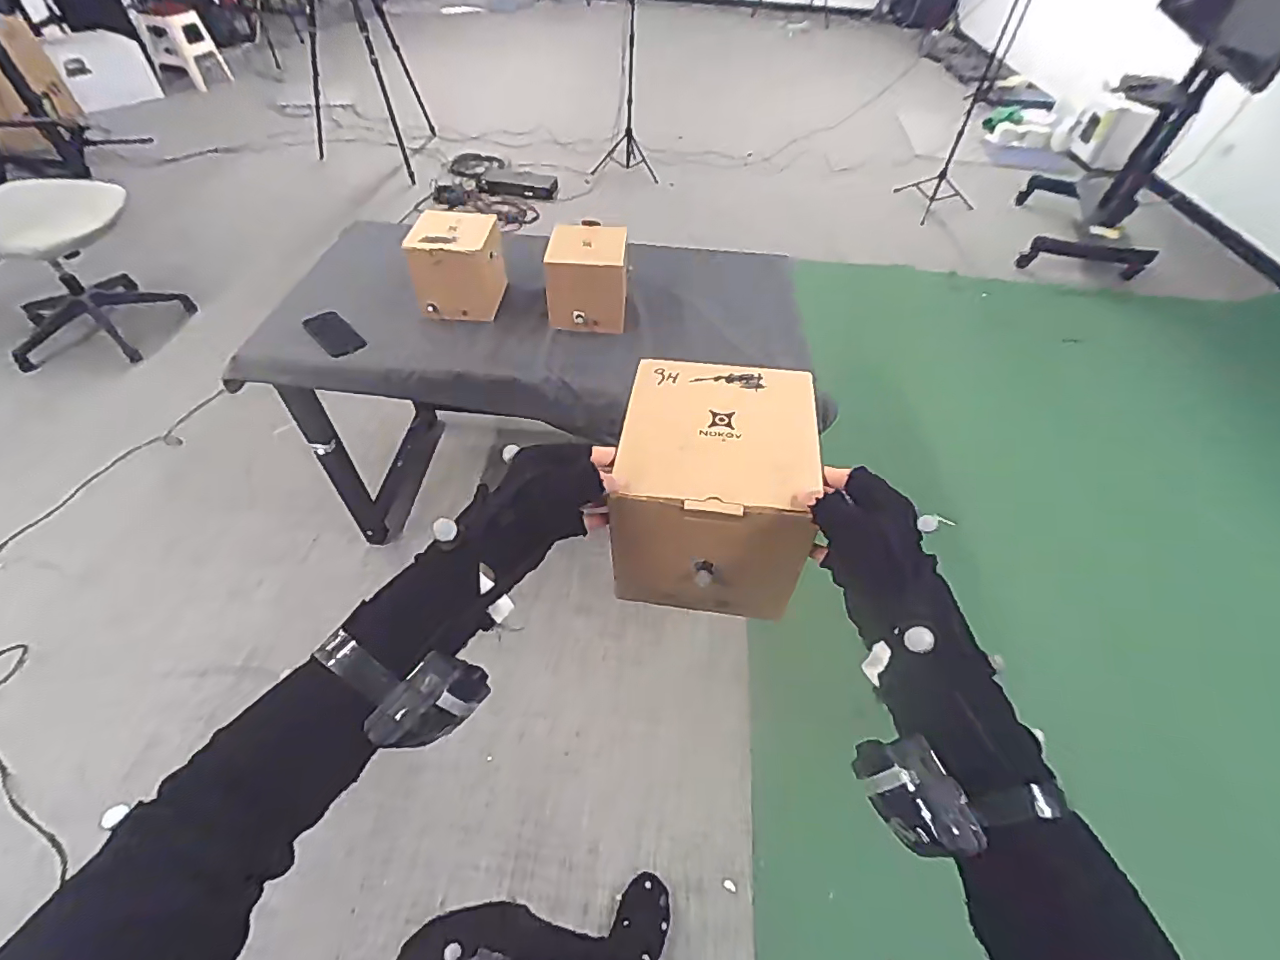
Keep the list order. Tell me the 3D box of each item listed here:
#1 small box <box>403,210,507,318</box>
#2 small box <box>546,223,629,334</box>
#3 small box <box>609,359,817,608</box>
[{"bbox_3d":[-0.406,-0.486,1.223,0.168,0.176,0.179,4,49,-1],"label":"small box"},{"bbox_3d":[-0.113,-0.454,1.220,0.168,0.176,0.179,2,50,0],"label":"small box"},{"bbox_3d":[0.070,0.007,0.532,0.168,0.176,0.179,7,51,5],"label":"small box"}]
